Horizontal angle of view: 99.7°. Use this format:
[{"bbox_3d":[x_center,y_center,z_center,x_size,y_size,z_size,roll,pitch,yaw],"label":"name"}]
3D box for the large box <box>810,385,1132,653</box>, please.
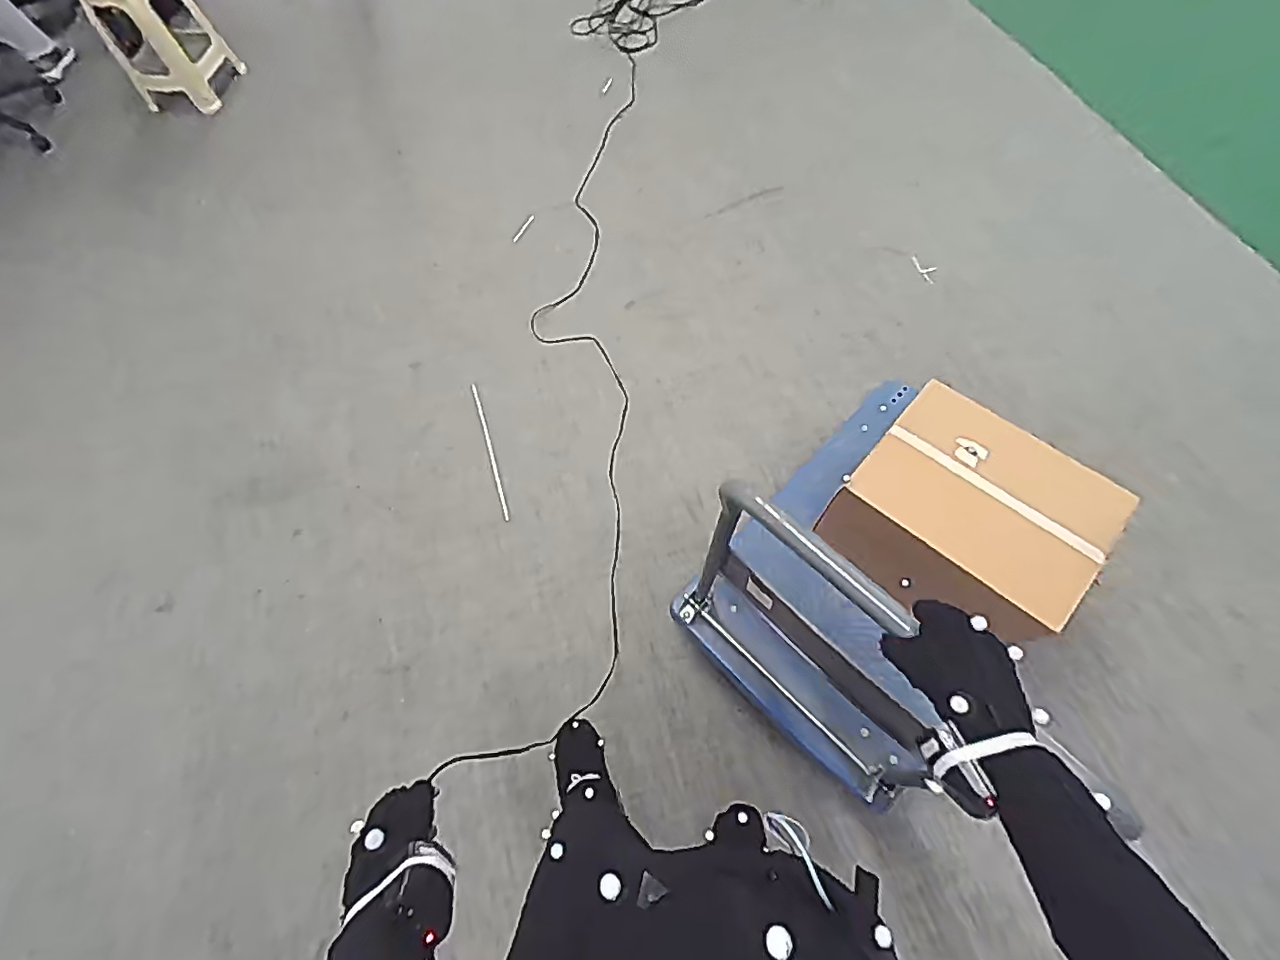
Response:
[{"bbox_3d":[0.627,0.090,1.102,0.408,0.320,0.320,39,73,20],"label":"large box"}]
